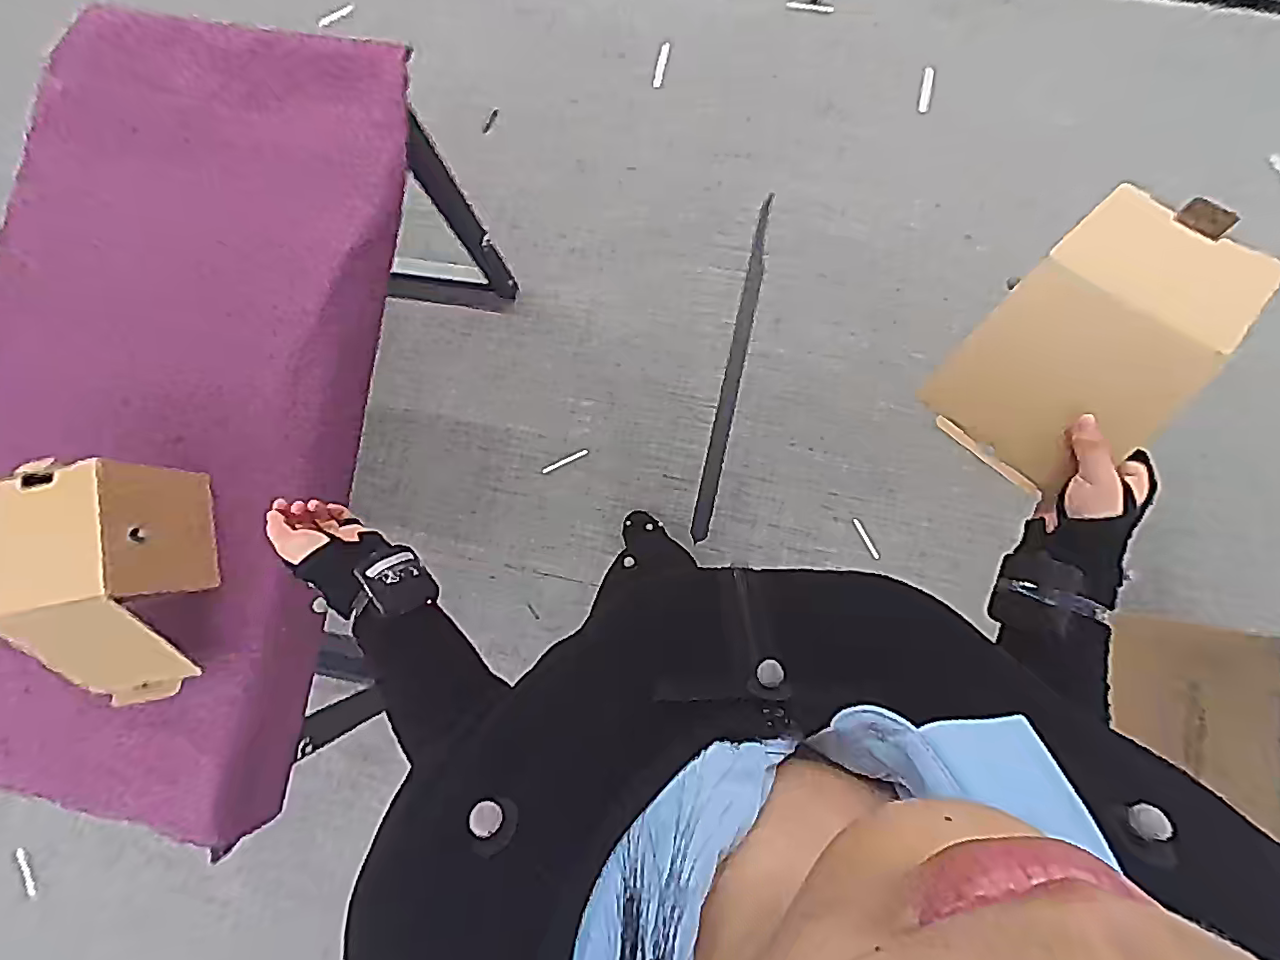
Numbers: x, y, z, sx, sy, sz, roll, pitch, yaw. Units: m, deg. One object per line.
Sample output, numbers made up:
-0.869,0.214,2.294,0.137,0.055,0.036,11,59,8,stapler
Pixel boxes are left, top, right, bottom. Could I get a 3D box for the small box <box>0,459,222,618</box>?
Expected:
-0.722,0.081,0.748,0.168,0.176,0.179,-11,81,2,small box
